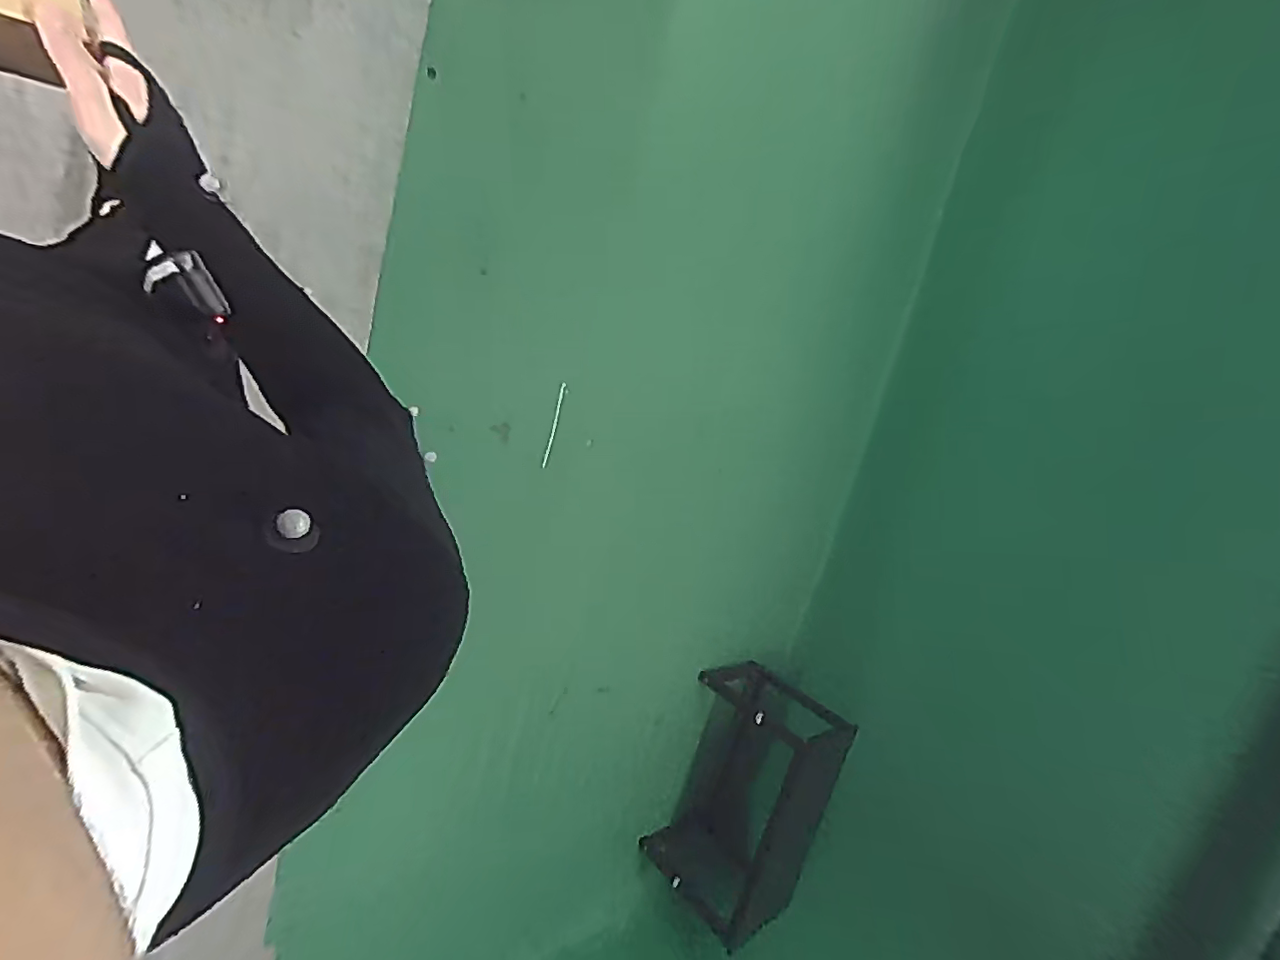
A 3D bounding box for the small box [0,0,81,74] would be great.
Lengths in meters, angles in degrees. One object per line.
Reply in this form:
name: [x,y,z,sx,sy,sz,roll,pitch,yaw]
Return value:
small box: [-0.527,-0.425,0.380,0.179,0.176,0.168,-8,111,-45]
